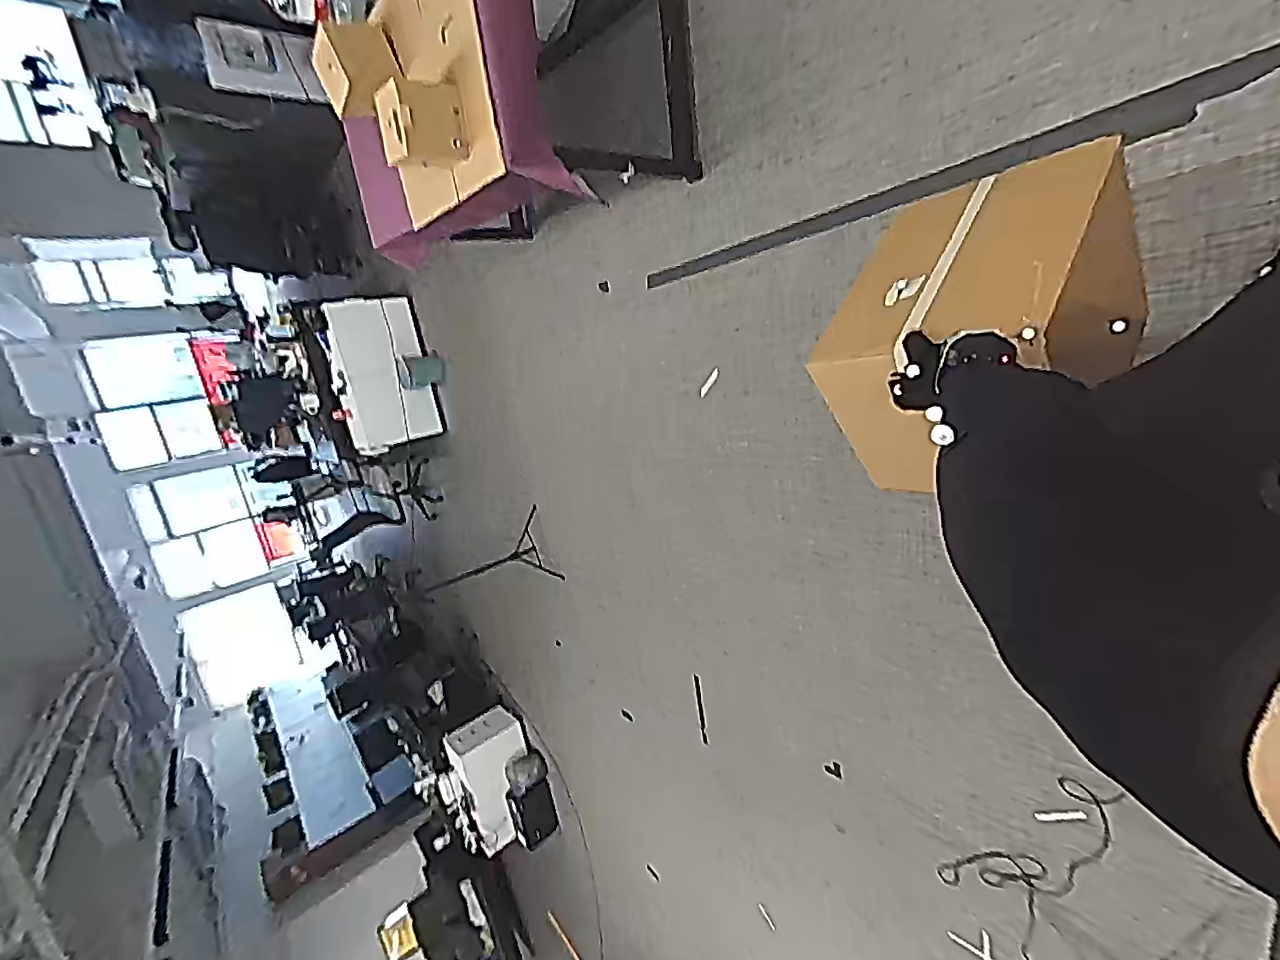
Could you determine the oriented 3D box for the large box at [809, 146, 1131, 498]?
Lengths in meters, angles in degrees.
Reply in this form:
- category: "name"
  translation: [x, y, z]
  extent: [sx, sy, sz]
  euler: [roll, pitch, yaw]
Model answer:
- category: "large box"
  translation: [0.545, -0.229, 0.875]
  extent: [0.320, 0.408, 0.320]
  euler: [5, 145, 53]
